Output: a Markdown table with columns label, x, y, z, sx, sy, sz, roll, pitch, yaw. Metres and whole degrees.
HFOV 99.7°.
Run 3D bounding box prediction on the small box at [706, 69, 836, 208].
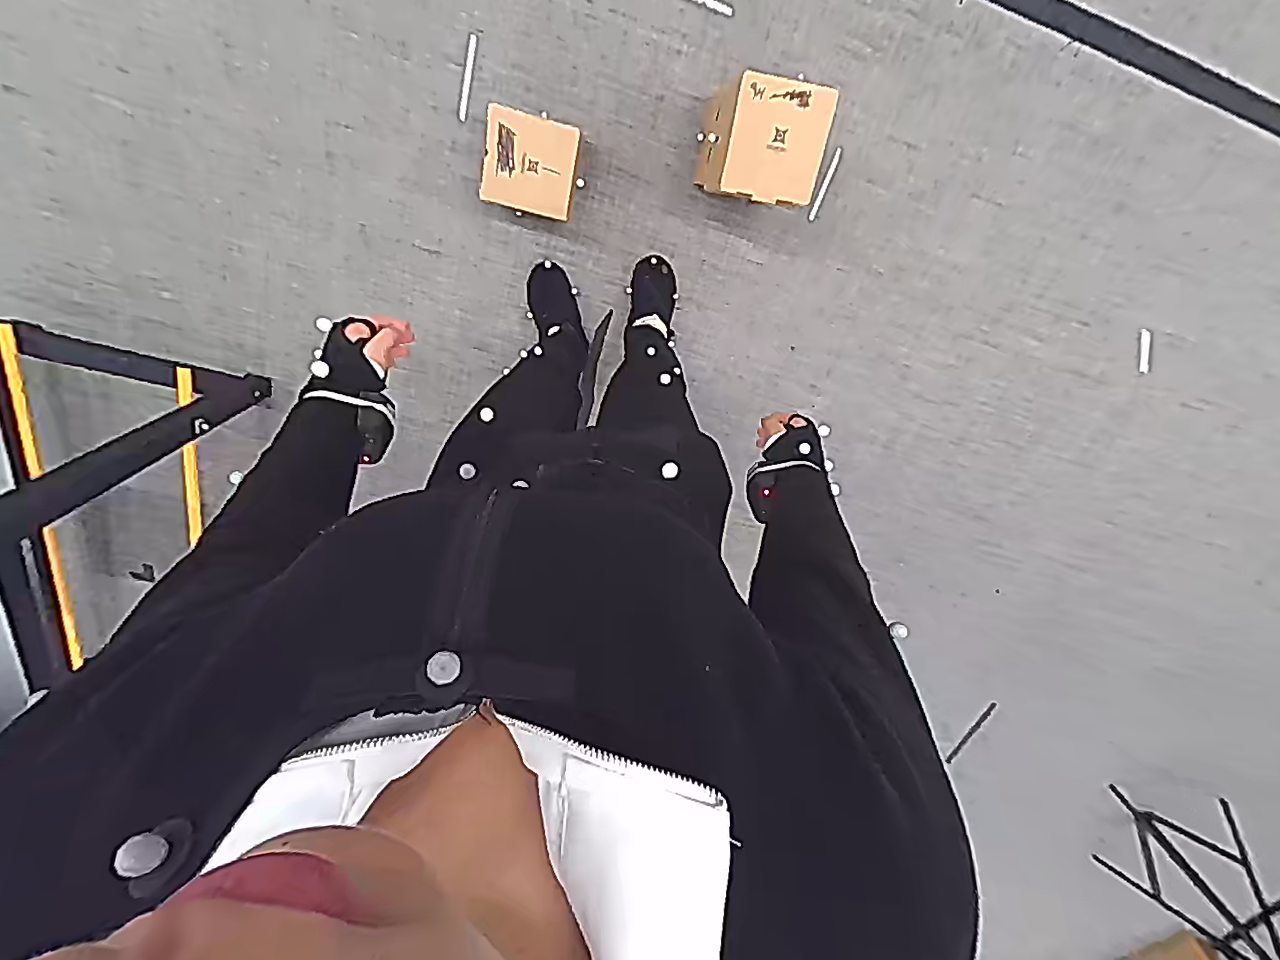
| label | x | y | z | sx | sy | sz | roll | pitch | yaw |
| --- | --- | --- | --- | --- | --- | --- | --- | --- | --- |
| small box | 0.224 | -0.608 | 0.981 | 0.168 | 0.176 | 0.179 | 7 | 118 | -7 |

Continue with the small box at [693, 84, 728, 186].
| label | x | y | z | sx | sy | sz | roll | pitch | yaw |
| --- | --- | --- | --- | --- | --- | --- | --- | --- | --- |
| small box | 0.220 | -0.692 | 1.122 | 0.179 | 0.176 | 0.168 | 9 | 117 | -8 |

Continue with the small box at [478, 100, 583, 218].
| label | x | y | z | sx | sy | sz | roll | pitch | yaw |
| --- | --- | --- | --- | --- | --- | --- | --- | --- | --- |
| small box | -0.220 | -0.652 | 1.117 | 0.179 | 0.176 | 0.168 | 11 | 117 | -9 |
